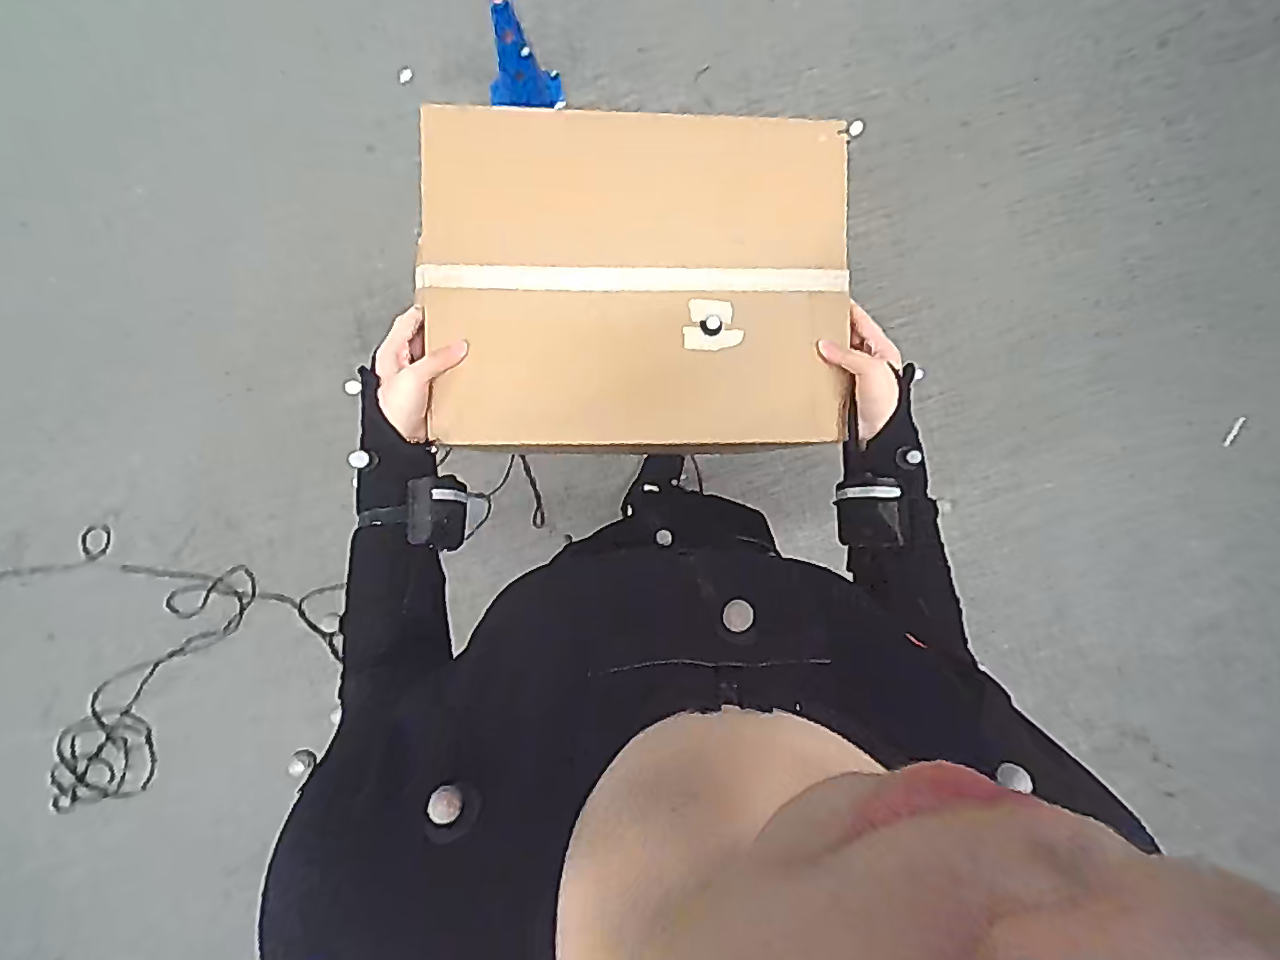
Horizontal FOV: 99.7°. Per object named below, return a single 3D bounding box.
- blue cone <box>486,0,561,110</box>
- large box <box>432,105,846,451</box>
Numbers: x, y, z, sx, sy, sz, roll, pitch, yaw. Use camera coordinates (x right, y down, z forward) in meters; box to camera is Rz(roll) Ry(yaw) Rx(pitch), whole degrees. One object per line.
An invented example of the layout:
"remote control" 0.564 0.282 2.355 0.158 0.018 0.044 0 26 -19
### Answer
"blue cone" -0.316 -1.033 1.343 0.193 0.380 0.192 -9 89 -1
"large box" -0.009 -0.201 0.669 0.408 0.320 0.320 0 92 -6
